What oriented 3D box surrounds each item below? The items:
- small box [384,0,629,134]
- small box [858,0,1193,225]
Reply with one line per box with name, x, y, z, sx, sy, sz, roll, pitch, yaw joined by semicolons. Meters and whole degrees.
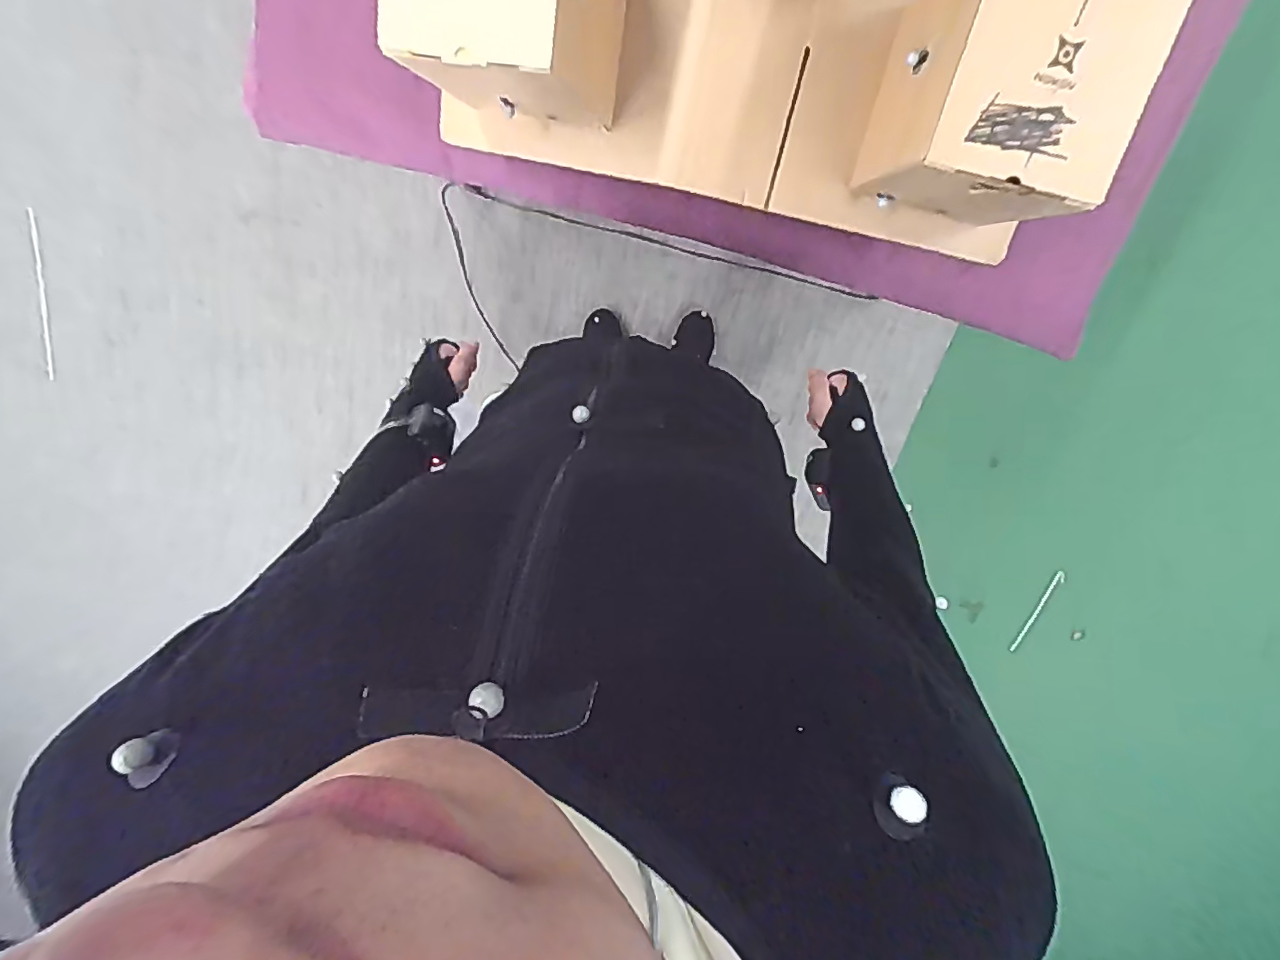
small box;-0.112;-0.455;0.506;0.168;0.176;0.179;14;112;10
small box;0.331;-0.354;0.508;0.168;0.176;0.179;11;109;-6
